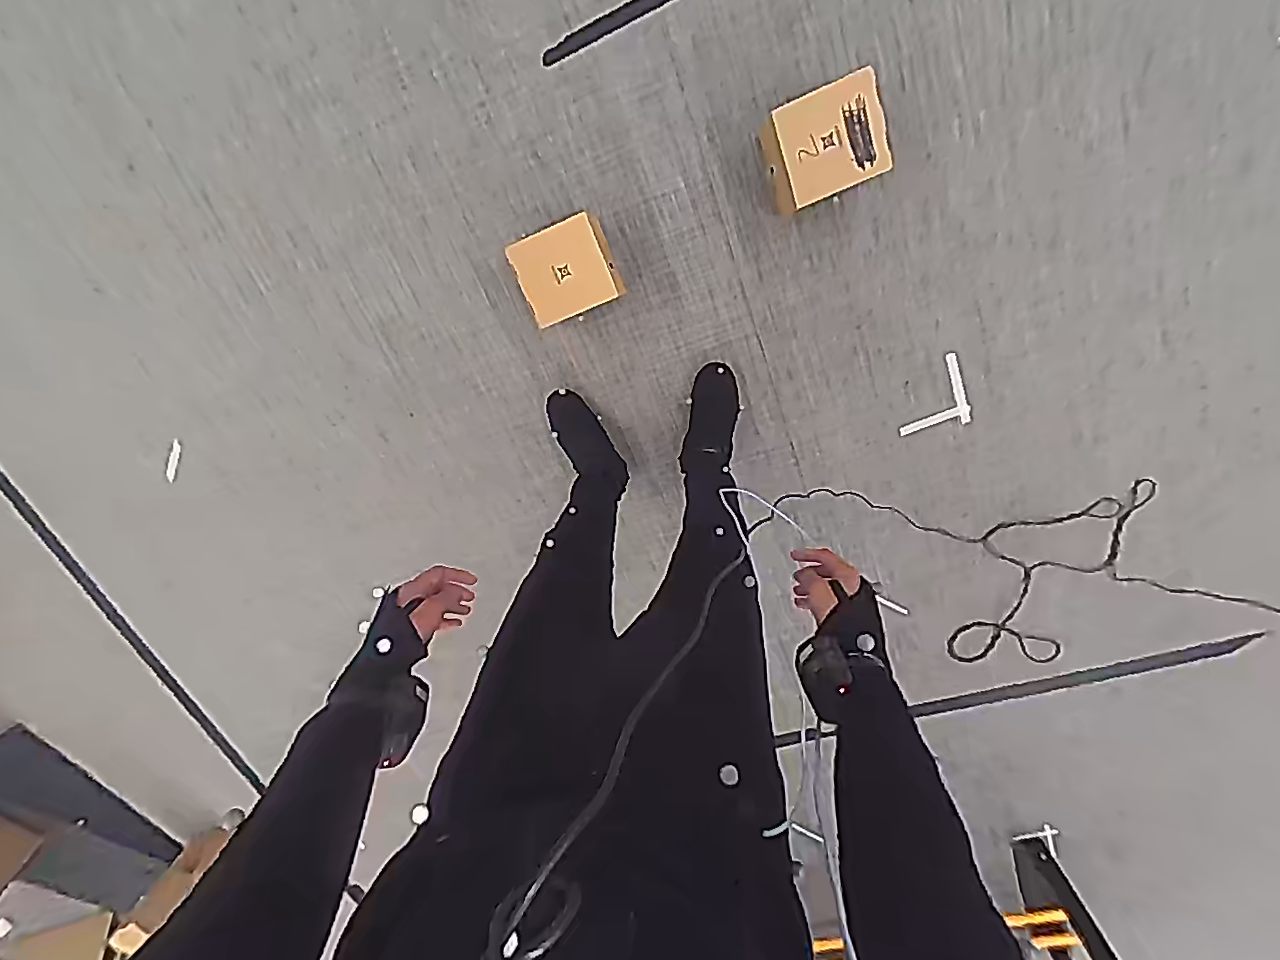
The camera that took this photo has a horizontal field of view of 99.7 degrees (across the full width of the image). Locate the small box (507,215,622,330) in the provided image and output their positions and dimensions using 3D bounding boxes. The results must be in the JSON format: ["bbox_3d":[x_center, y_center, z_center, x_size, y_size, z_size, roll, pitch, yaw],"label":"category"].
[{"bbox_3d":[-0.144,-0.430,1.122,0.179,0.176,0.168,-19,109,12],"label":"small box"}]
